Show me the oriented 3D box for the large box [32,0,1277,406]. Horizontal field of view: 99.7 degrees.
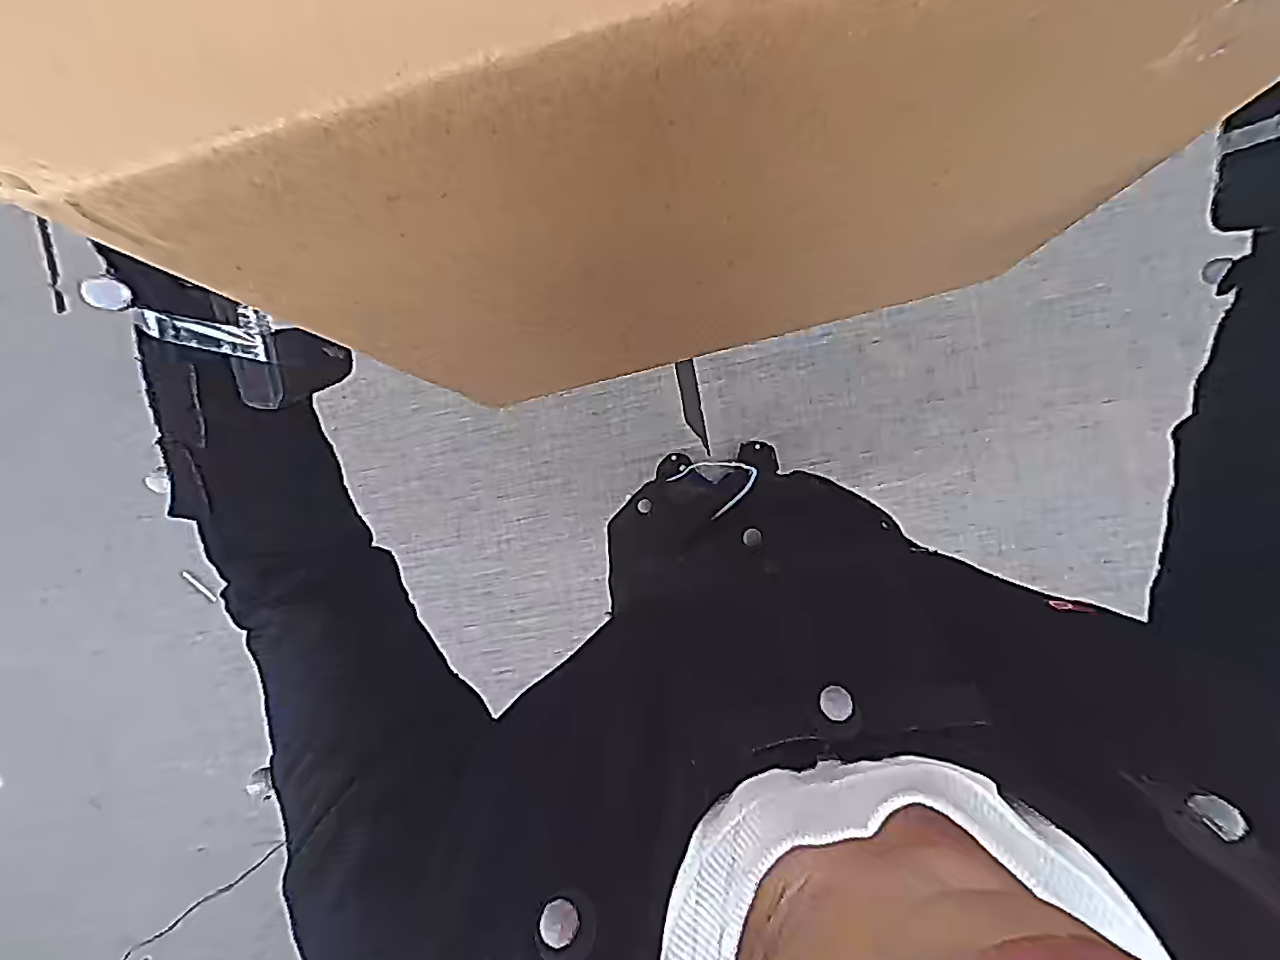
[{"bbox_3d":[0.010,-0.261,0.295,0.408,0.320,0.320,-14,88,4],"label":"large box"}]
